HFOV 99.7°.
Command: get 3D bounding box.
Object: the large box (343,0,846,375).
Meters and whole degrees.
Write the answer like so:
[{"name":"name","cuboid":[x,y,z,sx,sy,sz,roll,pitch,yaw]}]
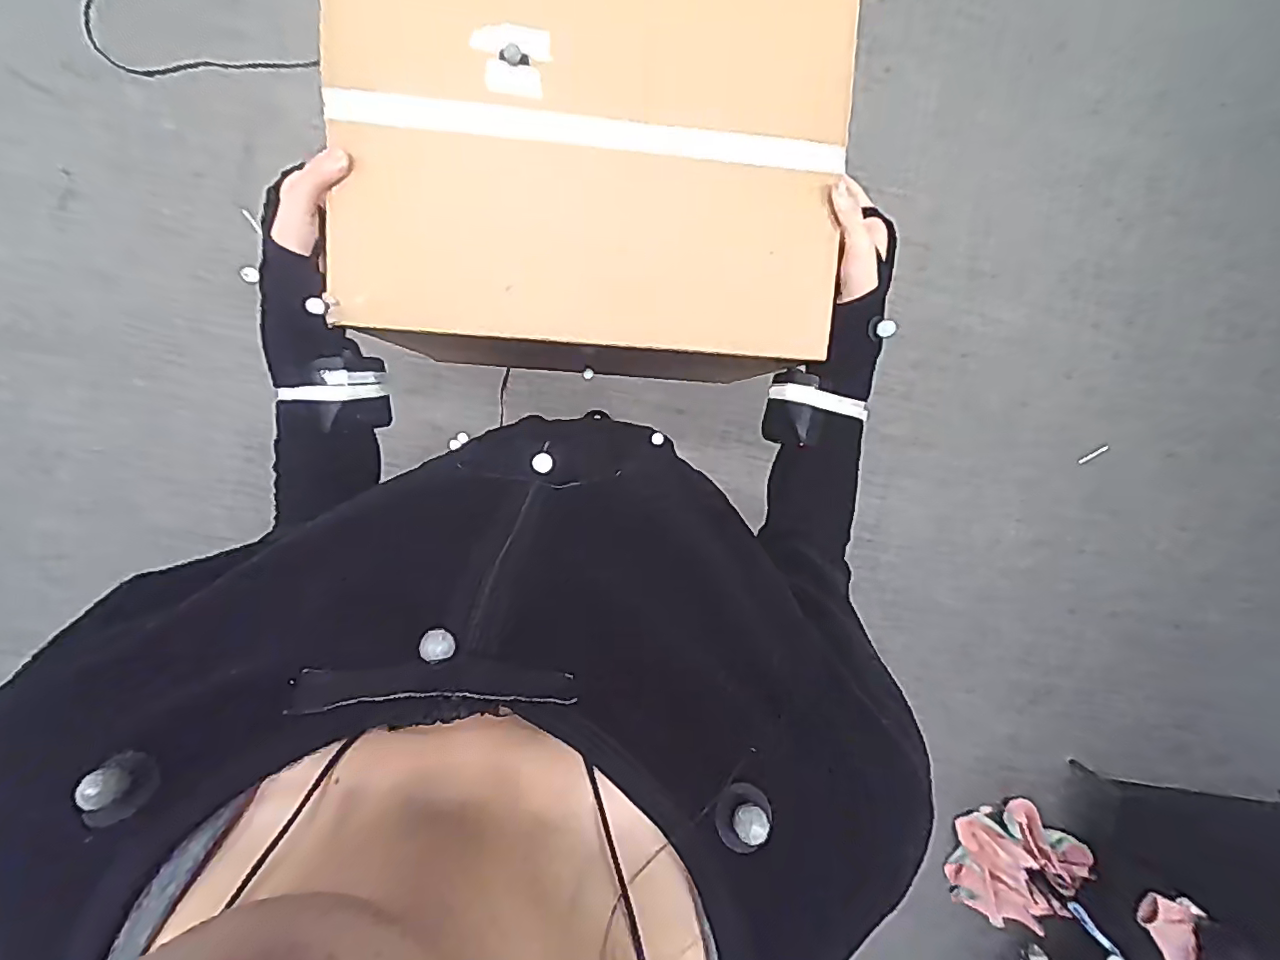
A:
[{"name":"large box","cuboid":[-0.047,-0.286,0.589,0.408,0.320,0.320,3,96,-6]}]
